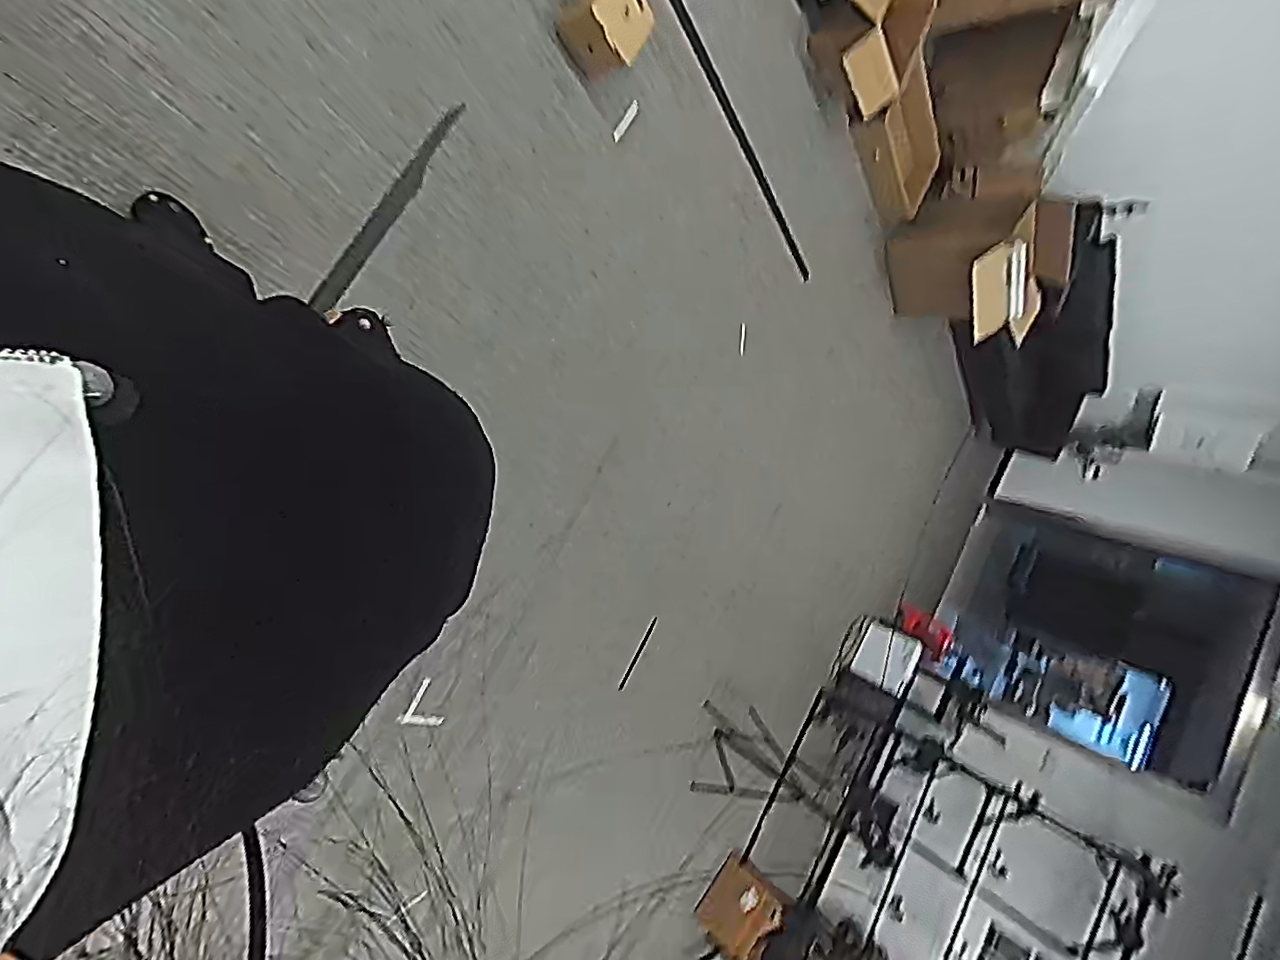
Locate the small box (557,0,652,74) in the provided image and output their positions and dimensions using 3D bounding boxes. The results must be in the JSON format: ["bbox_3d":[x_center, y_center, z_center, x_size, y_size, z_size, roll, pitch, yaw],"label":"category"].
[{"bbox_3d":[-0.105,-1.279,1.498,0.168,0.176,0.179,34,82,-47],"label":"small box"}]
